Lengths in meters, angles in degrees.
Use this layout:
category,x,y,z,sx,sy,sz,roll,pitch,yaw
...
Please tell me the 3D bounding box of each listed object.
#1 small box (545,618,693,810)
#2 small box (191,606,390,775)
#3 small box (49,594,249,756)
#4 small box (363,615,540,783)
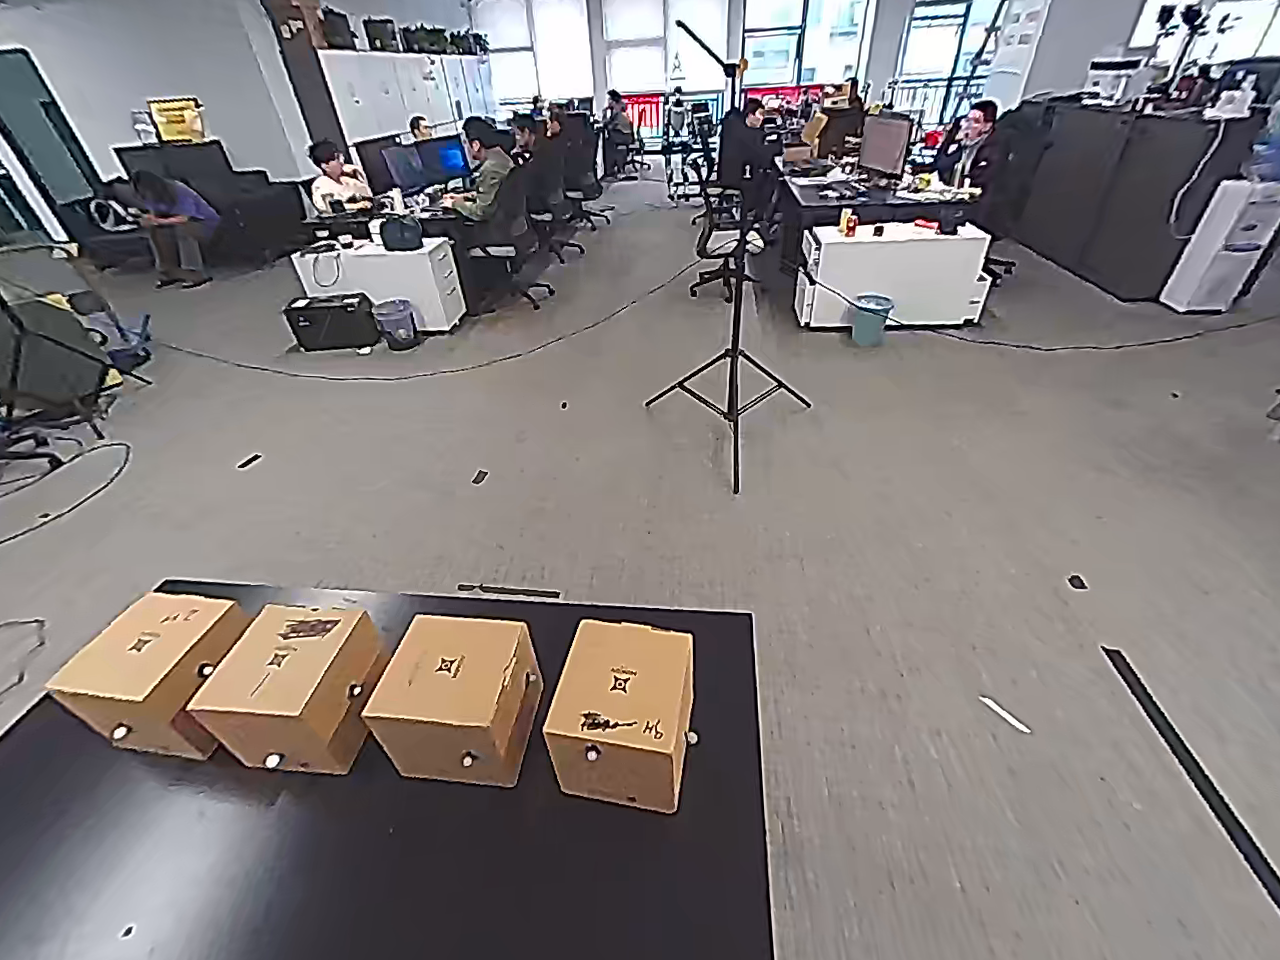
category,x,y,z,sx,sy,sz,roll,pitch,yaw
small box,-0.019,0.326,0.764,0.168,0.176,0.179,4,37,11
small box,-0.505,0.316,0.821,0.168,0.176,0.179,1,39,5
small box,-0.727,0.307,0.853,0.168,0.176,0.179,3,37,9
small box,-0.258,0.322,0.795,0.179,0.176,0.168,1,36,7
